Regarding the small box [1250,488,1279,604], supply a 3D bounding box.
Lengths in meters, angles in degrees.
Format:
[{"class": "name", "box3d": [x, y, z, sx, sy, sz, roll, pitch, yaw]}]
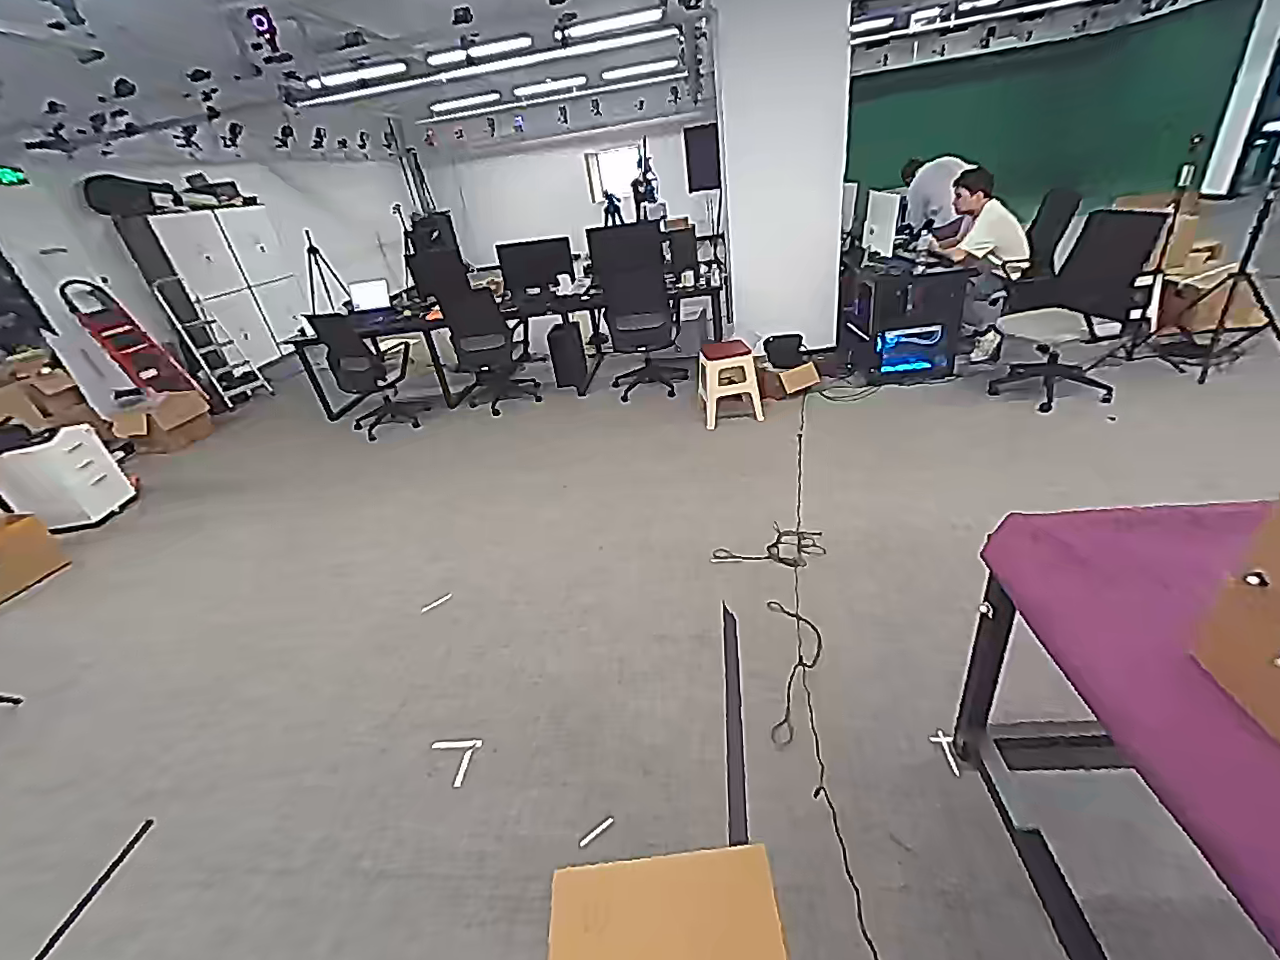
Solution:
[{"class": "small box", "box3d": [0.957, 0.109, 0.690, 0.179, 0.176, 0.168, -4, 30, 8]}]

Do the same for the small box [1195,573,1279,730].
[{"class": "small box", "box3d": [0.973, 0.251, 0.772, 0.168, 0.176, 0.179, -4, 30, 9]}]
